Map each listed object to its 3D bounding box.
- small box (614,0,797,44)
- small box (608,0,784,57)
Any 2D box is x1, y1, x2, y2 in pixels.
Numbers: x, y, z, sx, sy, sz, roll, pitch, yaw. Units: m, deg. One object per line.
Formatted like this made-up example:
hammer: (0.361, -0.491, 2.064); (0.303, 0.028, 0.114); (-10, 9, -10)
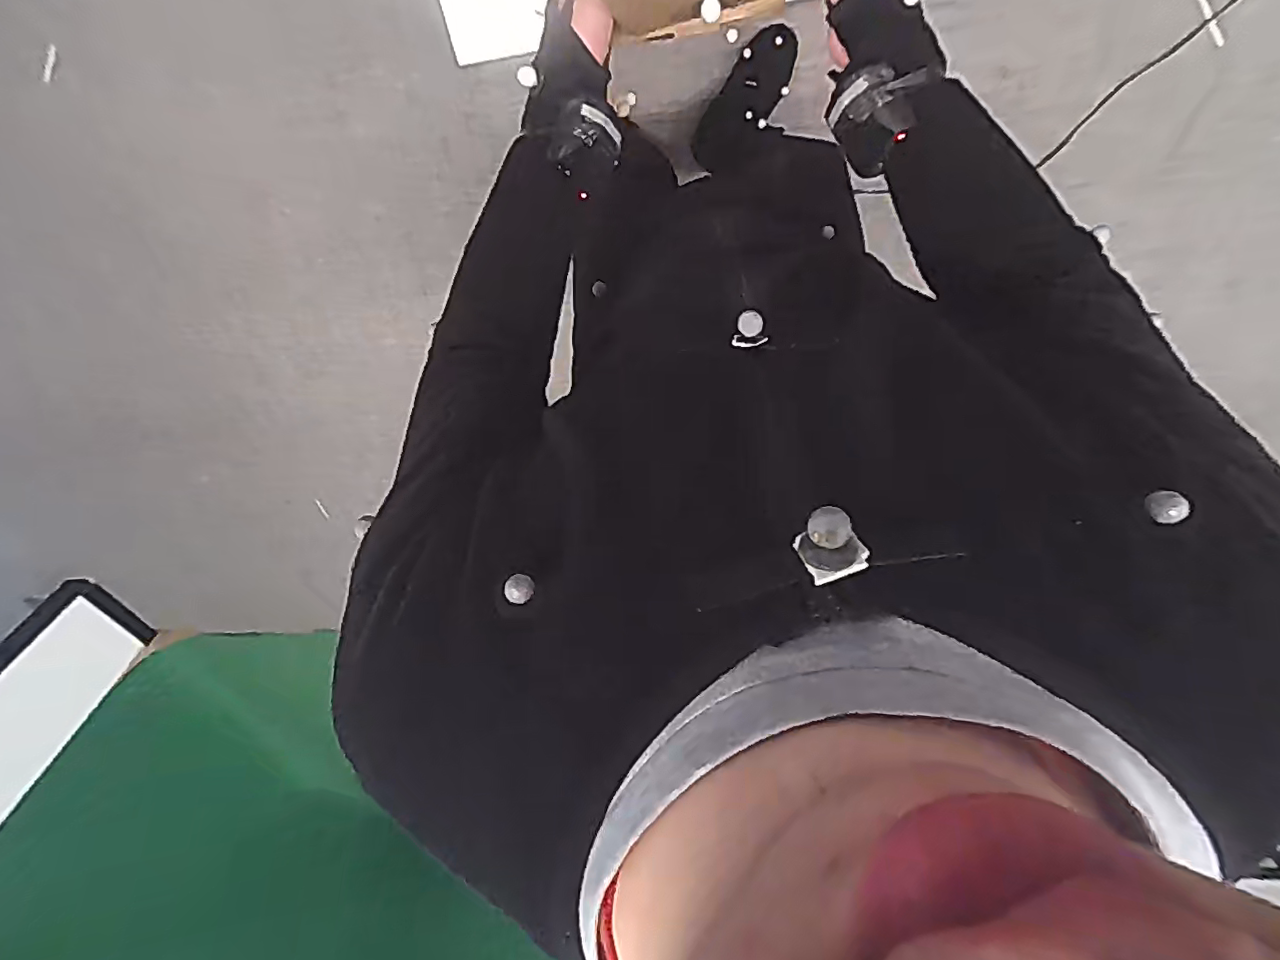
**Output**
small box: (0.043, -0.446, 0.372); (0.168, 0.176, 0.179); (-6, 116, 12)
small box: (0.051, -0.541, 0.528); (0.168, 0.176, 0.179); (-4, 128, 9)
